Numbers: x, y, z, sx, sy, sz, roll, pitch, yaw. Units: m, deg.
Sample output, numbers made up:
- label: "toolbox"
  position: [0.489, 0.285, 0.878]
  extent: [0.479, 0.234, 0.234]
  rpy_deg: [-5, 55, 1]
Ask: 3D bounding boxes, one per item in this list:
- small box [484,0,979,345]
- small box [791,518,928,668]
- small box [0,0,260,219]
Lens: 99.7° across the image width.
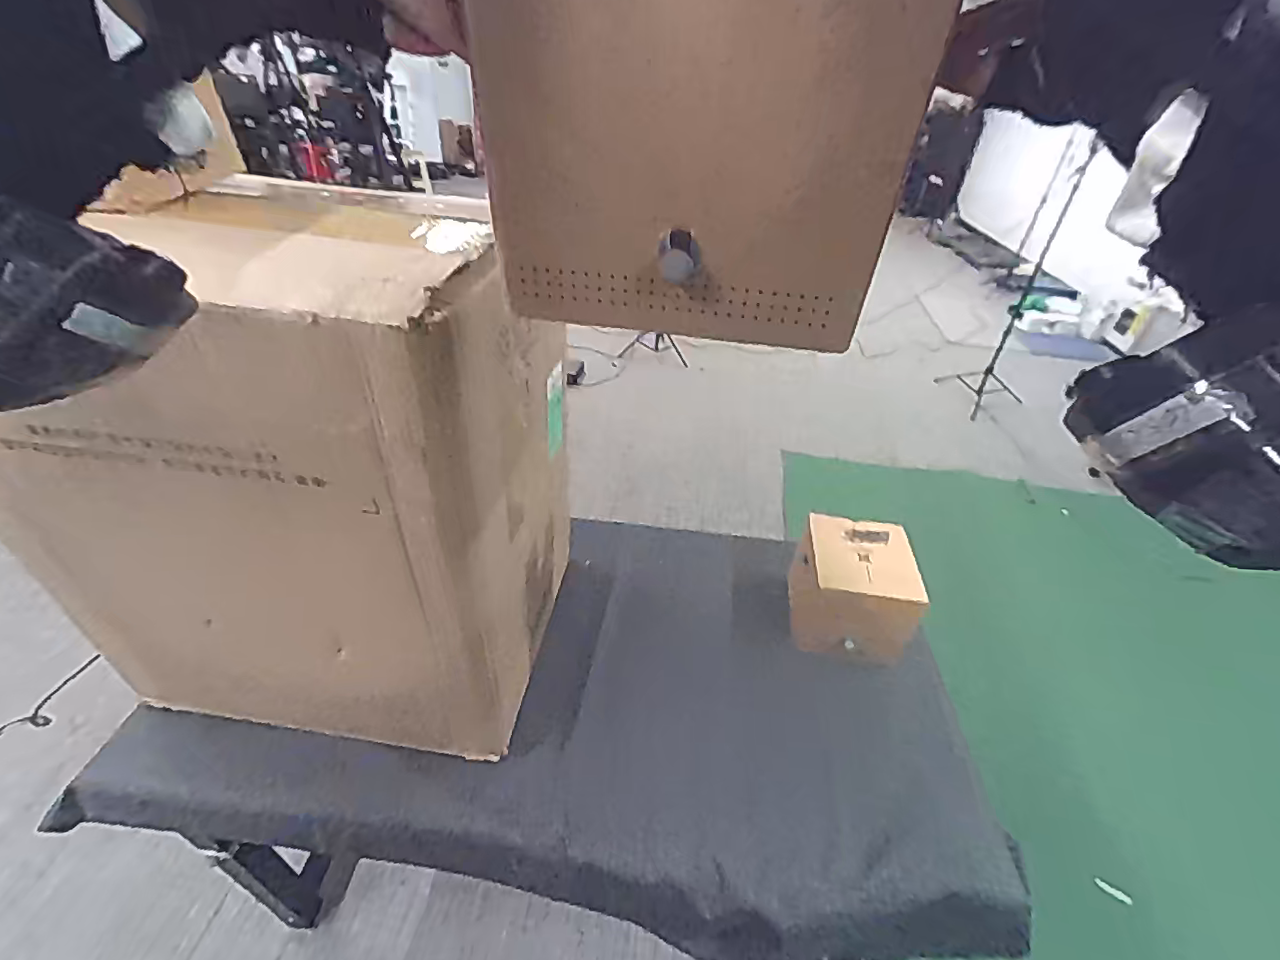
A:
- label: "small box"
  position: [0.038, -0.187, 0.279]
  extent: [0.179, 0.176, 0.168]
  rpy_deg: [9, 43, 5]
- label: "small box"
  position: [0.365, 0.194, 0.939]
  extent: [0.168, 0.176, 0.179]
  rpy_deg: [8, 38, 5]
- label: "small box"
  position: [-0.502, -0.351, 0.490]
  extent: [0.179, 0.176, 0.168]
  rpy_deg: [5, 43, -1]
